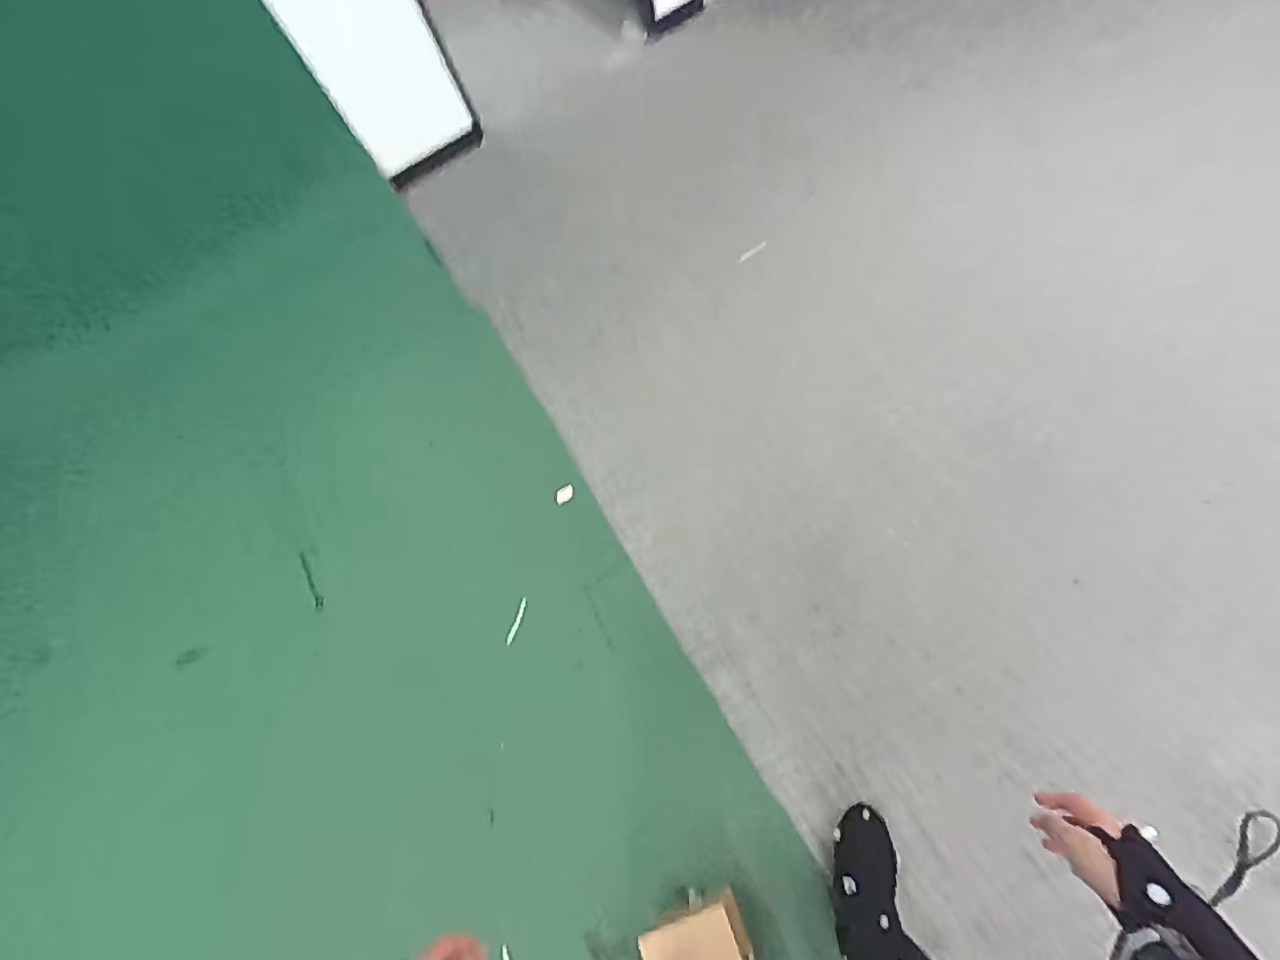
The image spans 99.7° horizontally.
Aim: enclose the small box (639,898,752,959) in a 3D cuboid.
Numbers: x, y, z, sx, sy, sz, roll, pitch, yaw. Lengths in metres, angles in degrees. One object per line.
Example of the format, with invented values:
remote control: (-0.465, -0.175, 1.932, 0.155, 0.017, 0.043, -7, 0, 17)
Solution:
small box: (0.117, 0.890, 0.963, 0.168, 0.176, 0.179, -24, 59, -1)
